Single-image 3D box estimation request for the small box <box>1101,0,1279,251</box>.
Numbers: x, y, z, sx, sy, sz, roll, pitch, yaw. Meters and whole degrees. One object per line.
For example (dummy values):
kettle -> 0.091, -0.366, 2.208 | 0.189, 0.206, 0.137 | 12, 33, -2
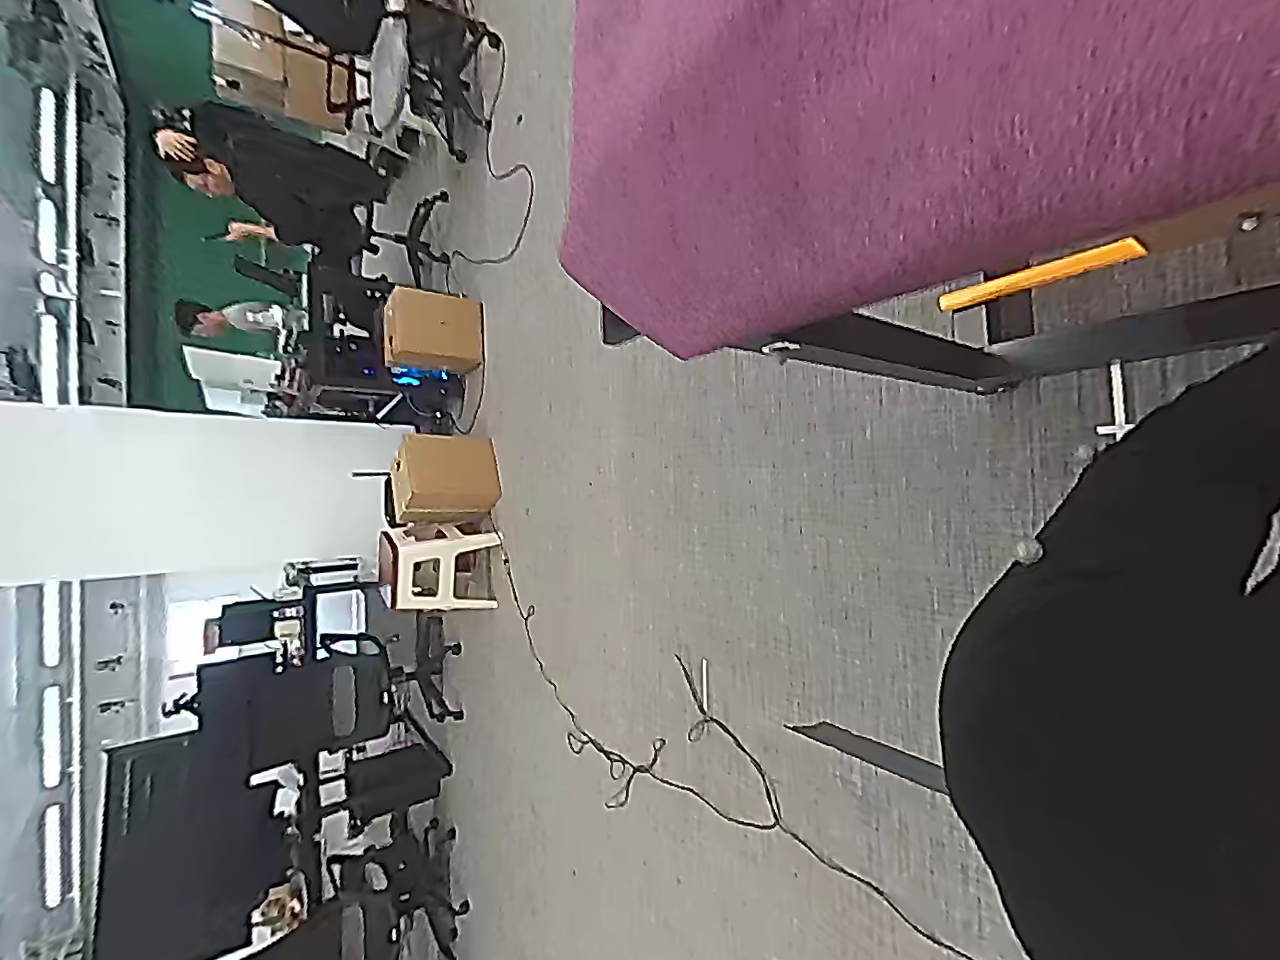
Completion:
small box -> 0.587, -0.355, 0.530 | 0.168, 0.176, 0.179 | -9, 86, 54
